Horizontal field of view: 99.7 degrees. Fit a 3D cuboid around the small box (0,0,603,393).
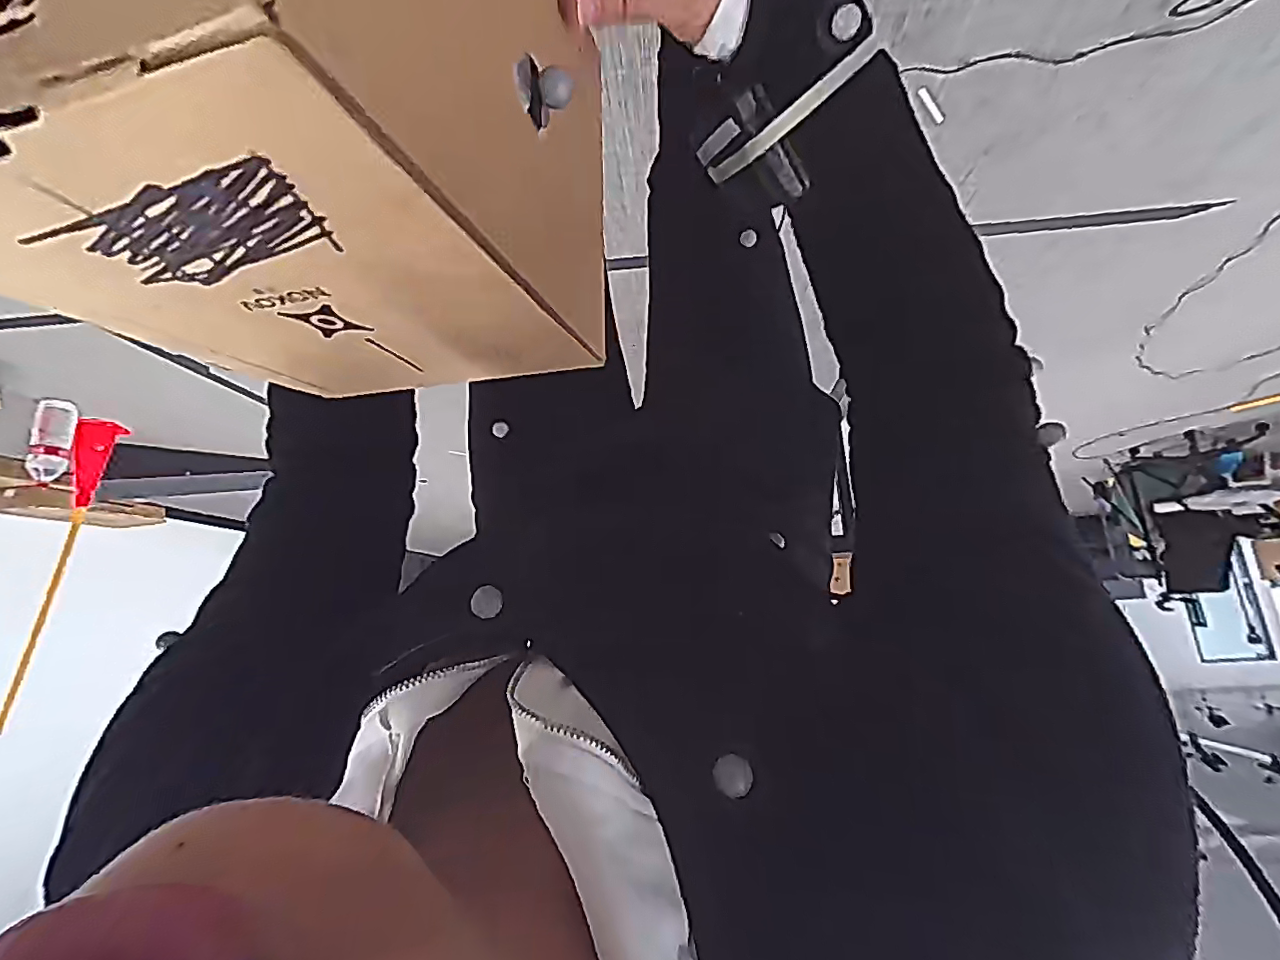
[{"bbox_3d":[-0.120,-0.146,0.209,0.168,0.176,0.179,-3,173,15],"label":"small box"}]
